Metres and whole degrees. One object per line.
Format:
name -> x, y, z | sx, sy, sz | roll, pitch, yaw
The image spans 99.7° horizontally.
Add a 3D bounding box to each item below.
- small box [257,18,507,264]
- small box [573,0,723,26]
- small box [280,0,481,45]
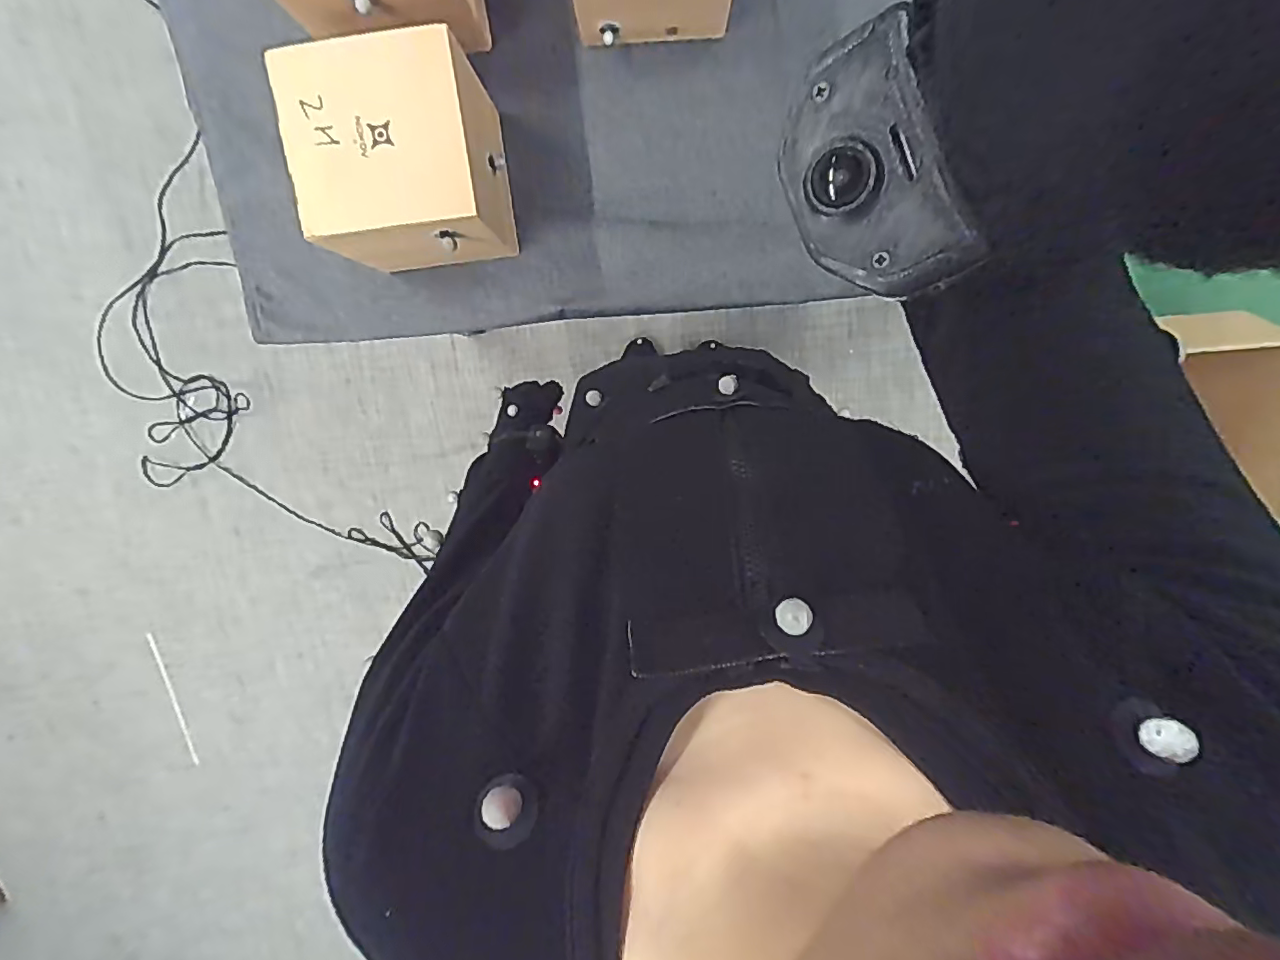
small box -> -0.250, -0.340, 0.579 | 0.179, 0.176, 0.168 | -6, 101, 3
small box -> 0.005, -0.577, 0.519 | 0.168, 0.176, 0.179 | -2, 102, 2
small box -> -0.271, -0.559, 0.535 | 0.179, 0.176, 0.168 | -7, 103, 4
